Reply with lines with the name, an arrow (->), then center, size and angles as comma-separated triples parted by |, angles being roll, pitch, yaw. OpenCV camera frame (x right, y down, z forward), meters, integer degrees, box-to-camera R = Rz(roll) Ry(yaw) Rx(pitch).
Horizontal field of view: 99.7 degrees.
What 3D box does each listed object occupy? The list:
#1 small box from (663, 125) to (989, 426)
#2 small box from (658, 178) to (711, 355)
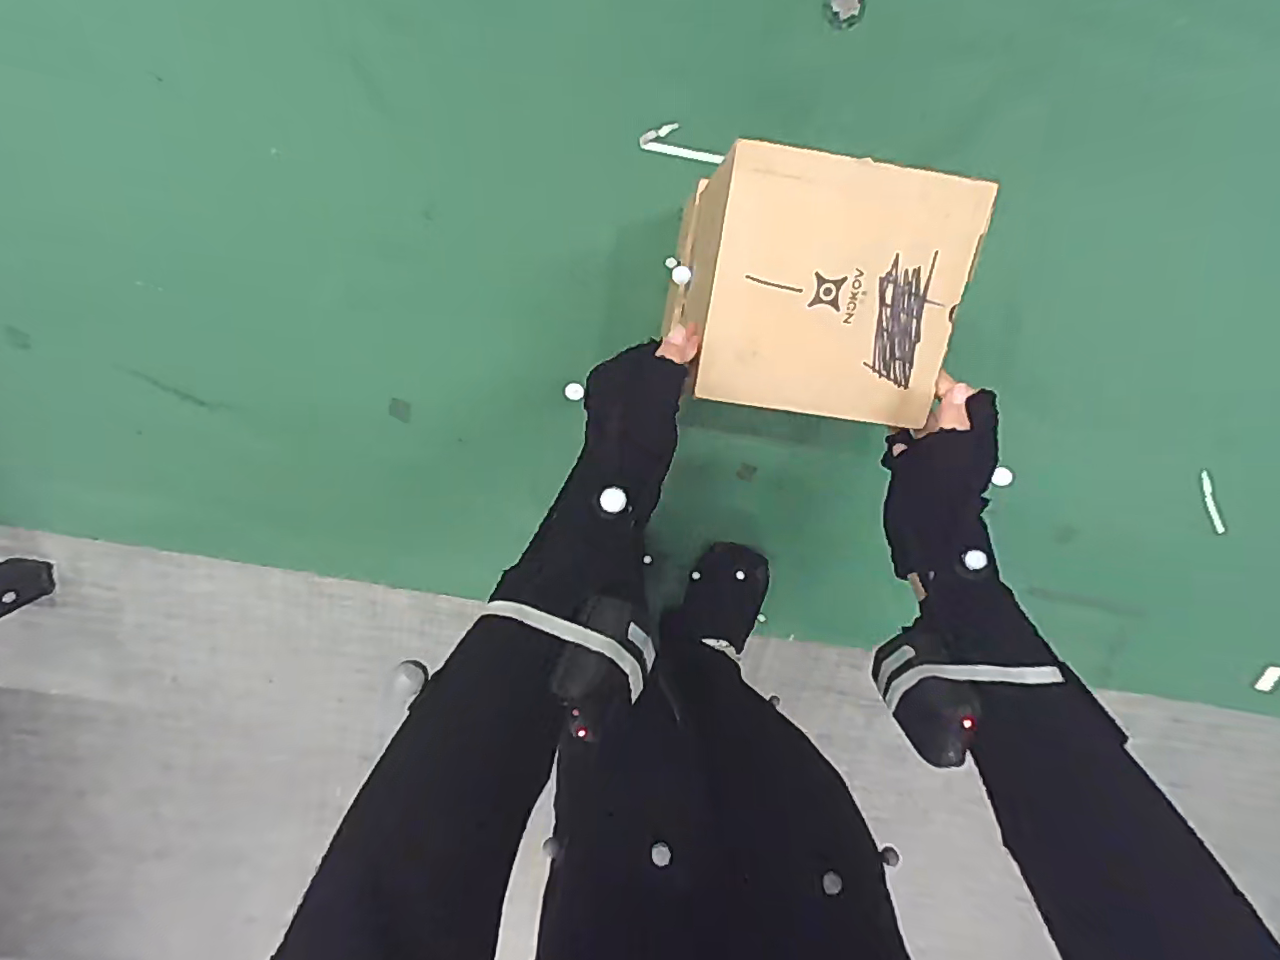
small box -> 0.125, -0.151, 0.441 | 0.179, 0.176, 0.168 | 10, 104, -5
small box -> 0.115, -0.218, 0.622 | 0.168, 0.176, 0.179 | 10, 108, -3
